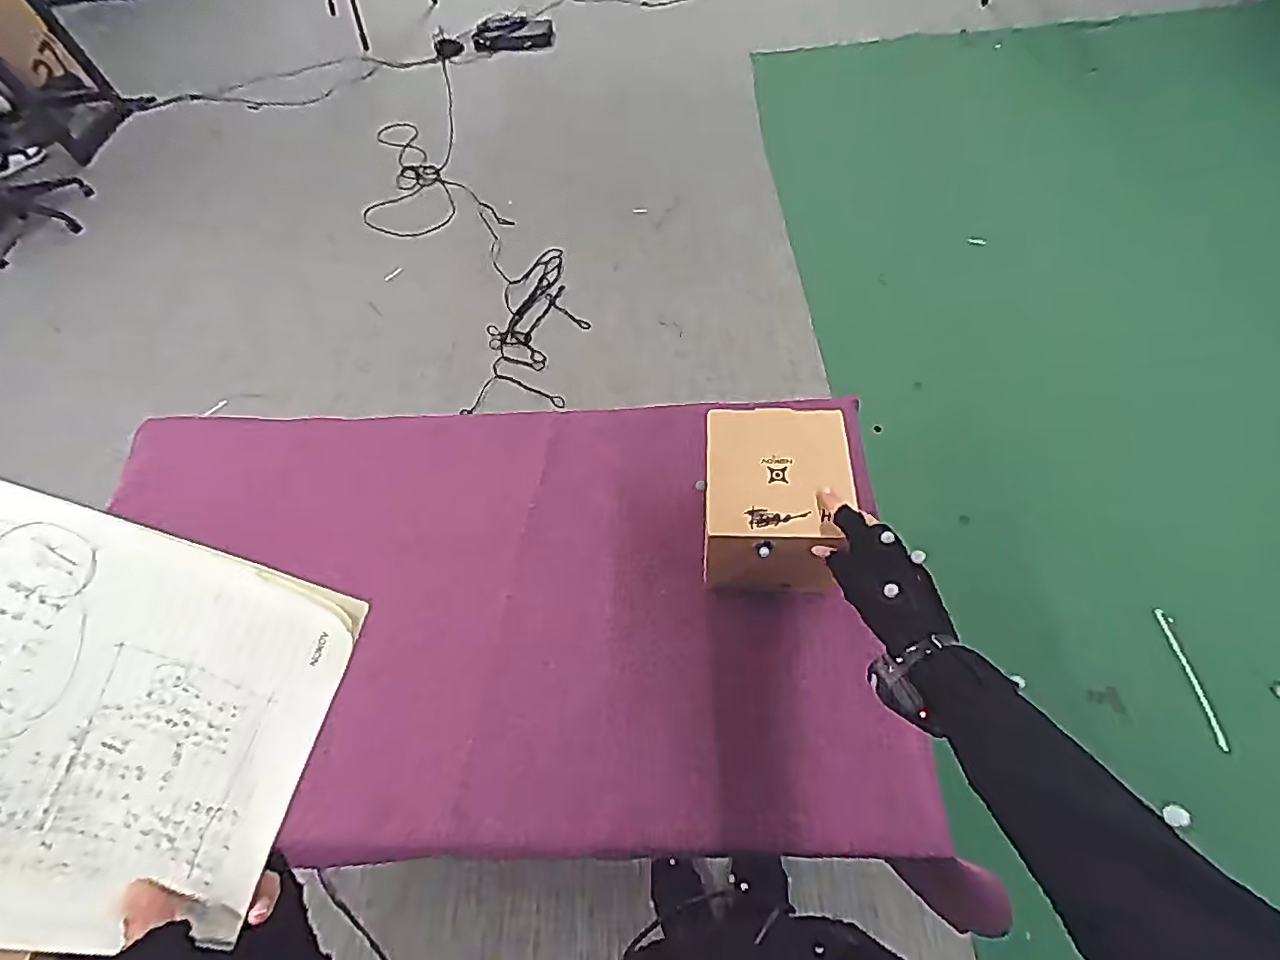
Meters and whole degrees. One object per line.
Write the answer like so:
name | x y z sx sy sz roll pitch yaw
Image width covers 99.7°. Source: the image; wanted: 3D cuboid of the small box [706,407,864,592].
small box | 0.170 0.027 0.688 0.168 0.176 0.179 1 59 7
